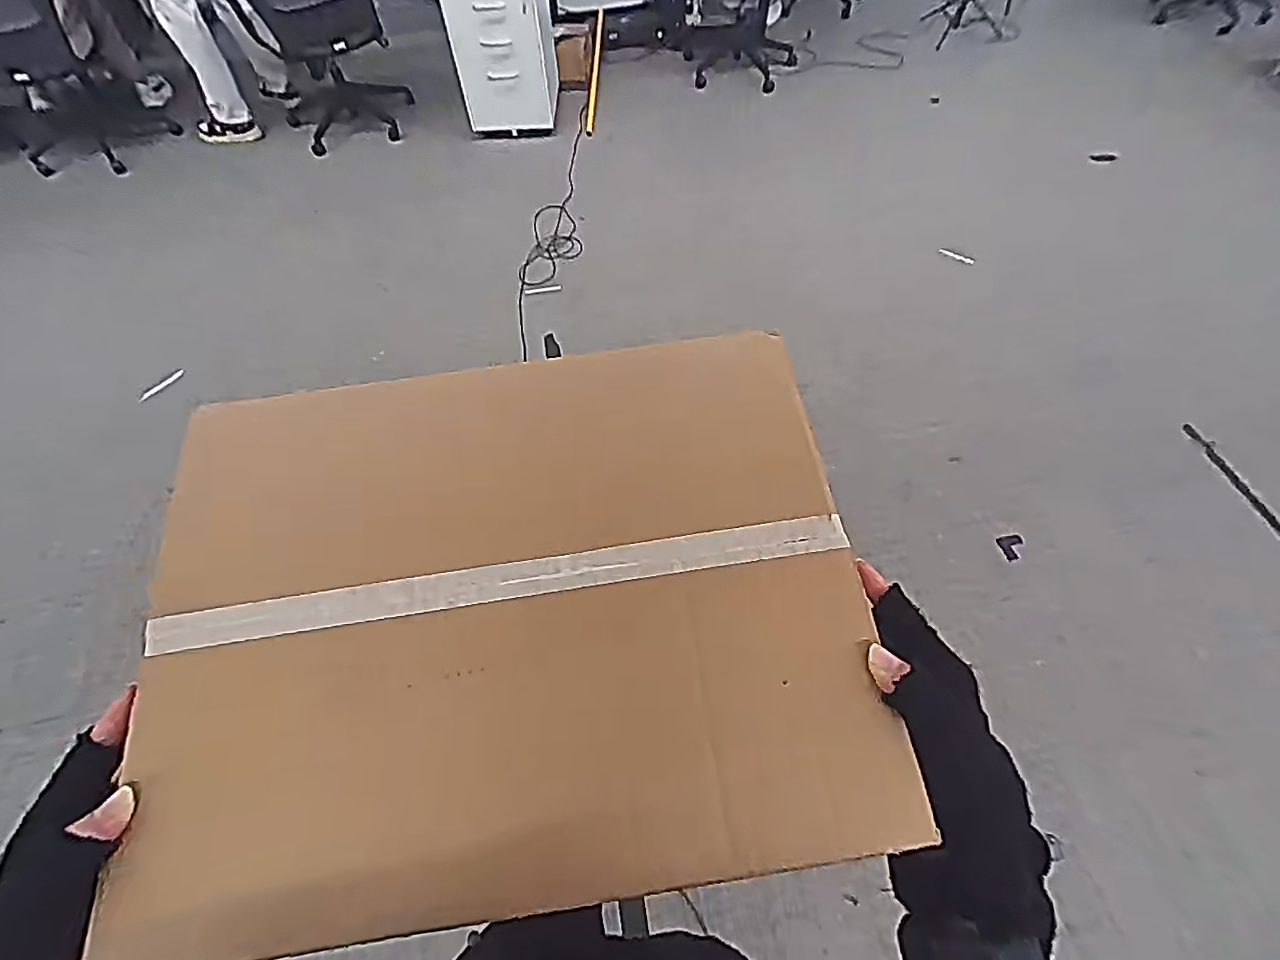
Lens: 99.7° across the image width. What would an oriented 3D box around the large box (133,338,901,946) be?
[{"bbox_3d":[-0.077,0.122,0.470,0.408,0.320,0.320,-8,67,-2],"label":"large box"}]
